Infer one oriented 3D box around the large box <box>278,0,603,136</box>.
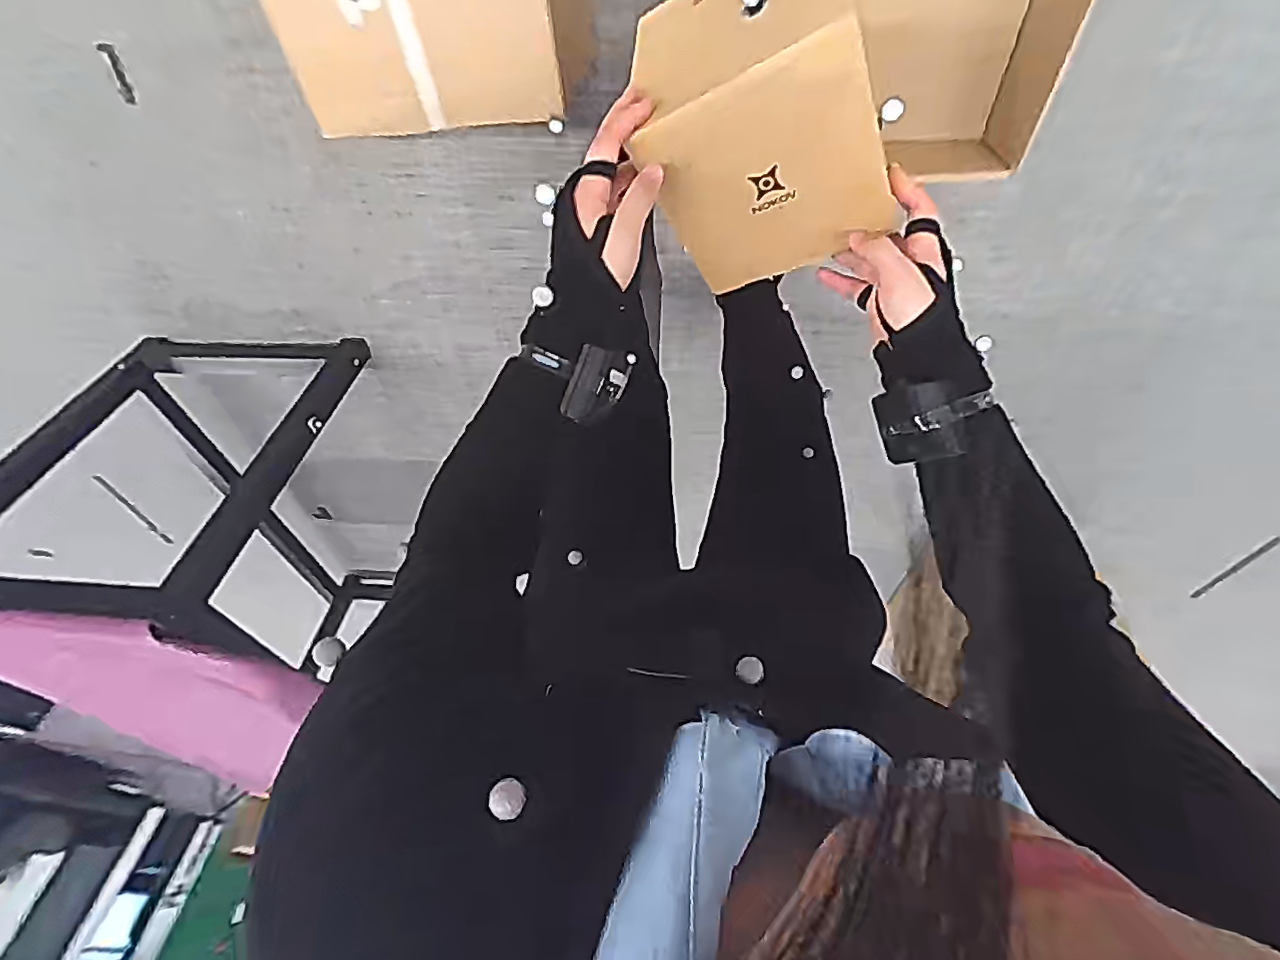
[{"bbox_3d":[-0.235,-0.676,0.604,0.320,0.320,0.408,1,140,8],"label":"large box"}]
